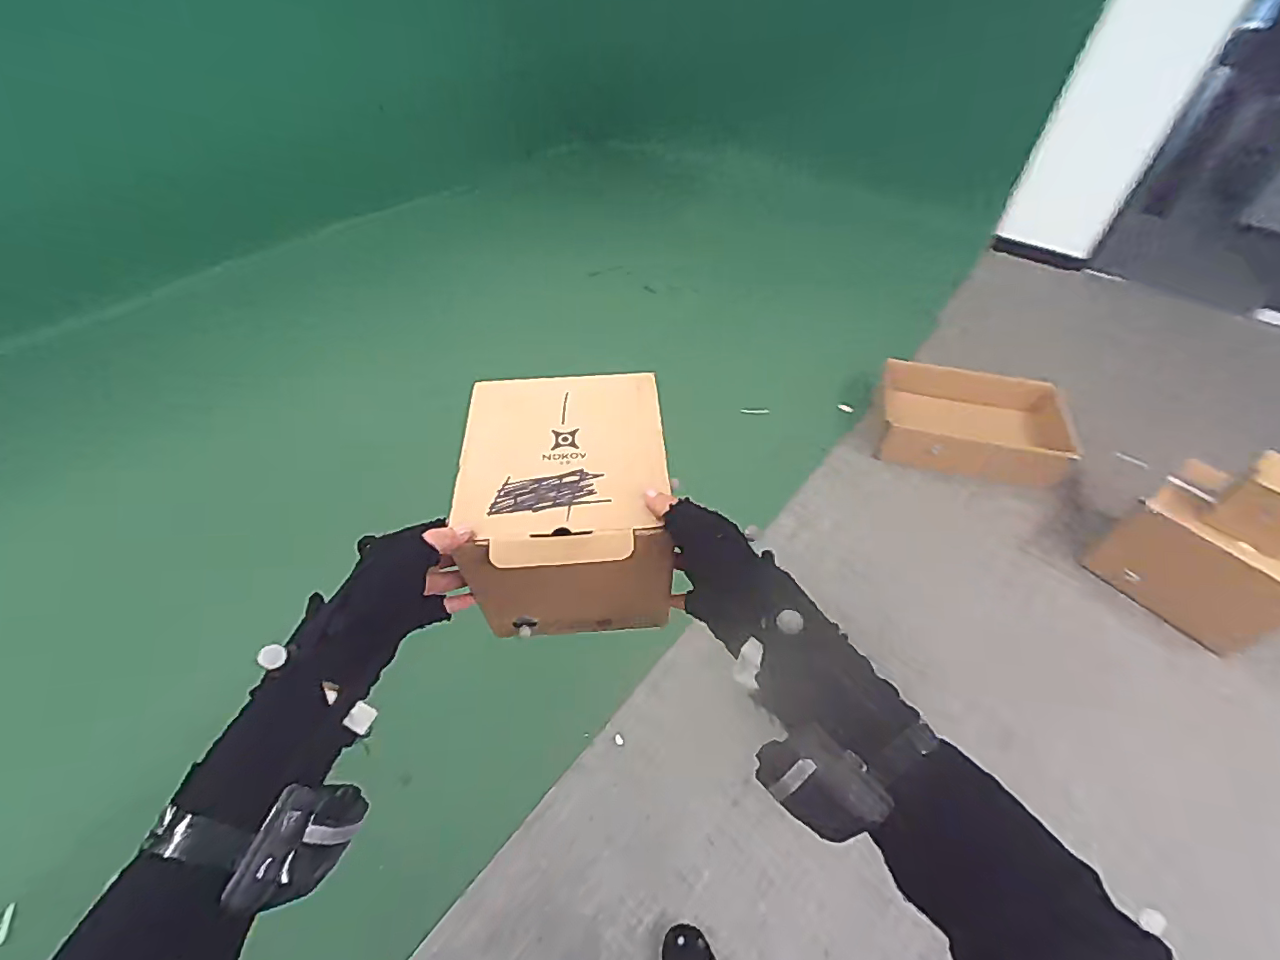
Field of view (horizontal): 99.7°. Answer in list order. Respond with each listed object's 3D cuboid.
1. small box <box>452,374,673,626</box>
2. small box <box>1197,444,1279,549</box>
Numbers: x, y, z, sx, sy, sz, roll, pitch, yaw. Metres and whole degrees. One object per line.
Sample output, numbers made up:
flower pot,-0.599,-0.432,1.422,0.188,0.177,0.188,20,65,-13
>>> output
small box,-0.057,0.025,0.503,0.168,0.176,0.179,-3,51,-2
small box,1.609,0.045,1.390,0.168,0.176,0.179,-36,58,-26
